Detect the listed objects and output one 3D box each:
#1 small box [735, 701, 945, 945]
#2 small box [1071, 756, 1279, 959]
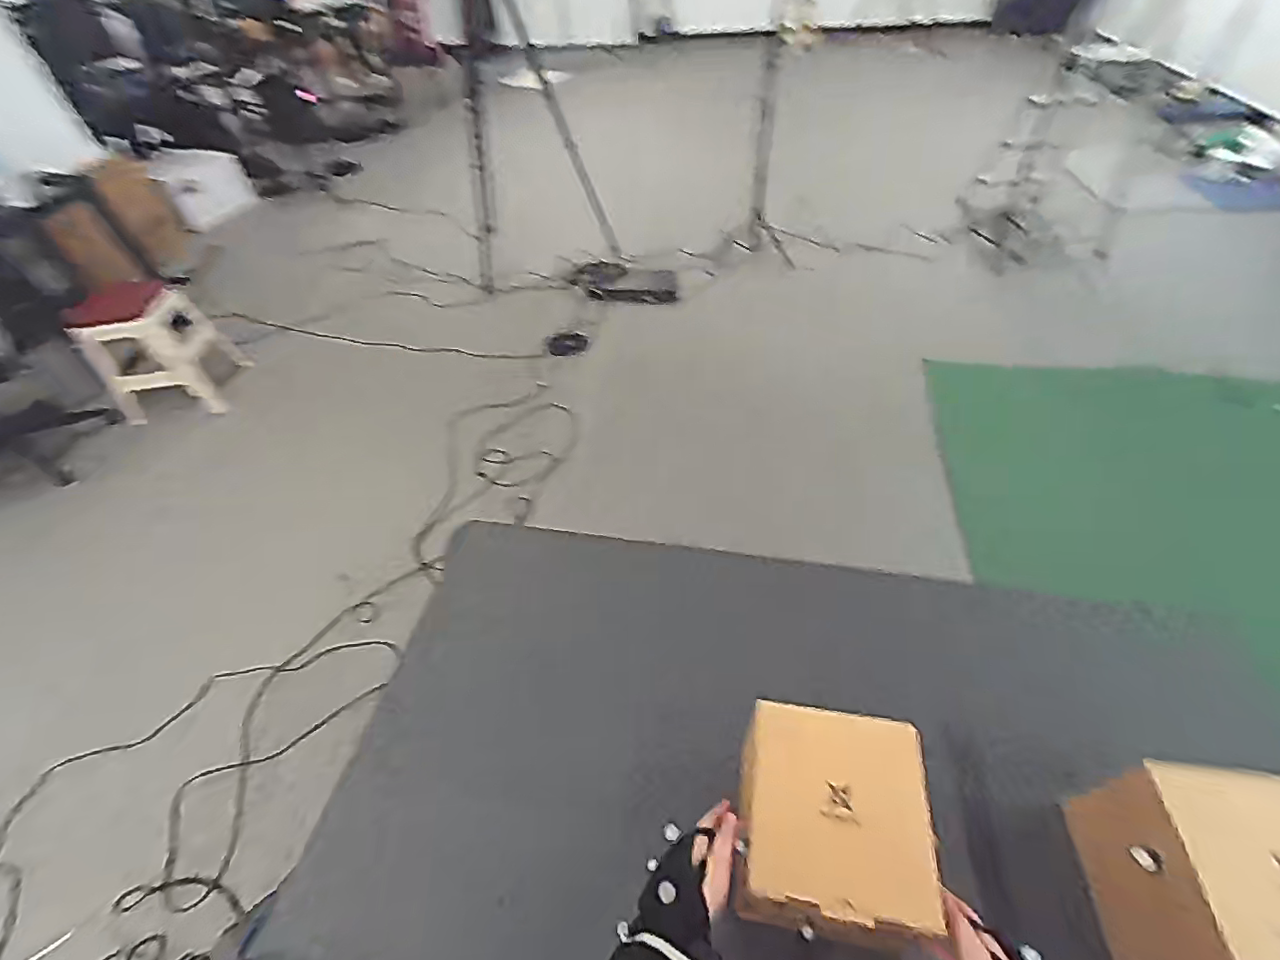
[{"bbox_3d":[0.197,0.371,0.587,0.168,0.176,0.179,7,47,8],"label":"small box"},{"bbox_3d":[0.572,0.397,0.526,0.168,0.176,0.179,3,48,9],"label":"small box"}]
